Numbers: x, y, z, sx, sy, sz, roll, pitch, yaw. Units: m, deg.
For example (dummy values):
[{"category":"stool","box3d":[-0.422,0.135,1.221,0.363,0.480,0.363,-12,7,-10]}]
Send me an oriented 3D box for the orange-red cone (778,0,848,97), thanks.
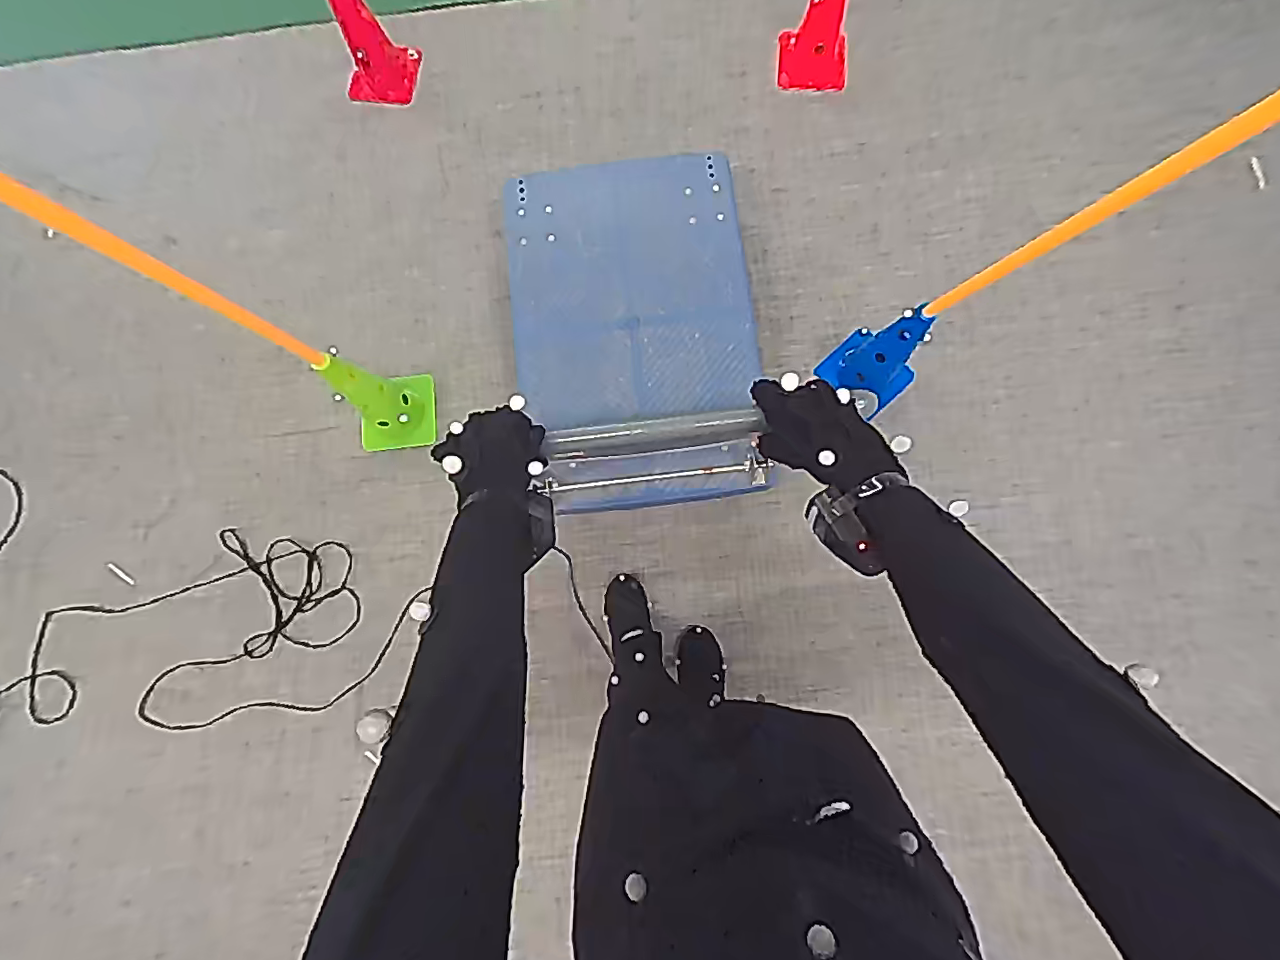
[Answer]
[{"category":"orange-red cone","box3d":[0.507,-1.261,1.449,0.198,0.360,0.199,5,80,4]}]
